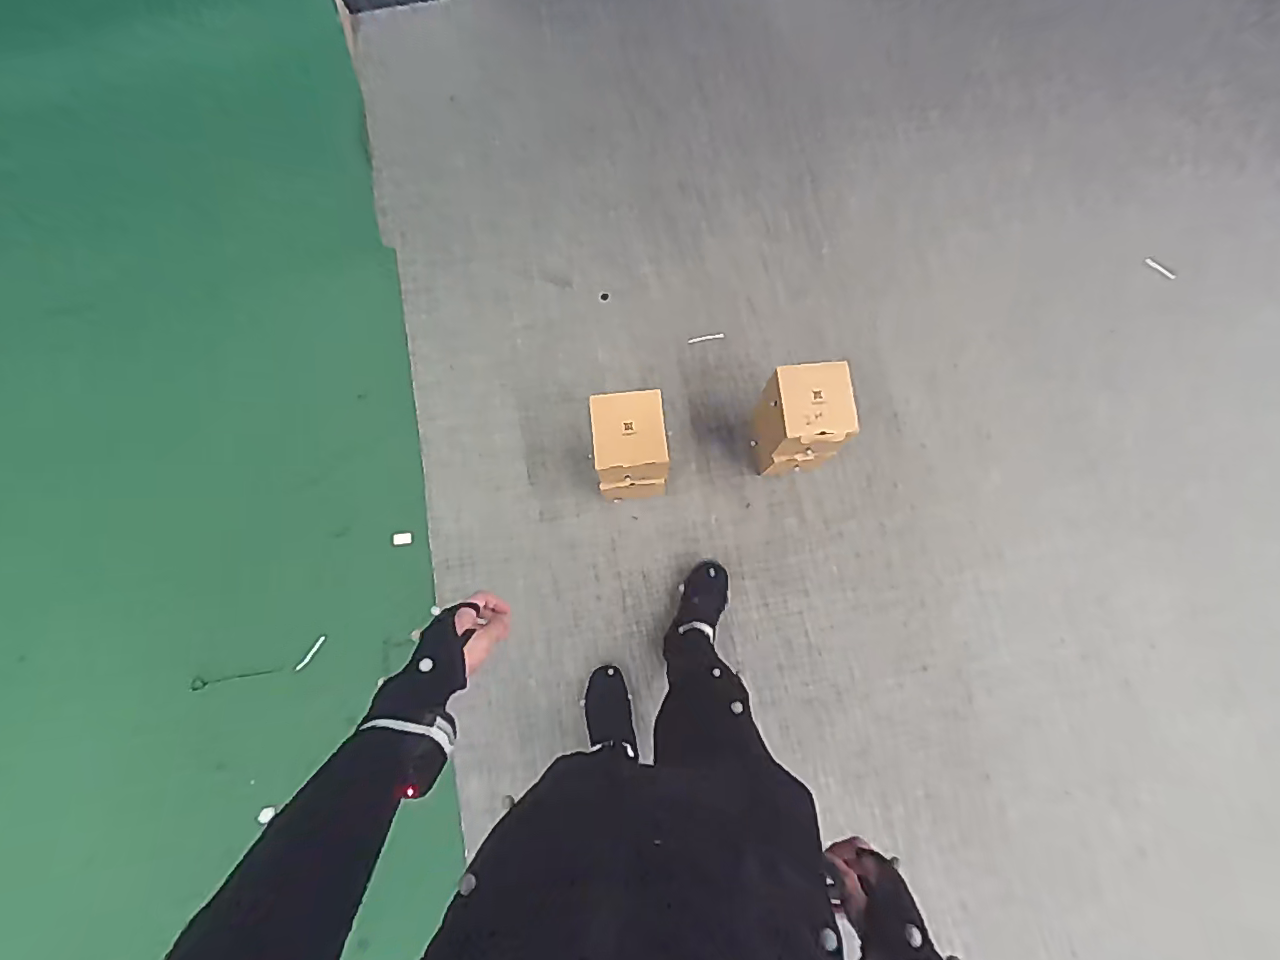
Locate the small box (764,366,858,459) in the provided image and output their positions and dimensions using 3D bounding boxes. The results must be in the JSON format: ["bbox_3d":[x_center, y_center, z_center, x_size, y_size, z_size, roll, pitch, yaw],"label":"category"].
[{"bbox_3d":[0.404,-0.158,1.307,0.168,0.176,0.179,-4,78,0],"label":"small box"}]

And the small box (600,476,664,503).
[{"bbox_3d":[-0.025,-0.037,1.468,0.168,0.176,0.179,-6,77,-2],"label":"small box"}]

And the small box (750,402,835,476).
[{"bbox_3d":[0.406,-0.114,1.466,0.168,0.176,0.179,-8,79,-2],"label":"small box"}]

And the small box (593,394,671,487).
[{"bbox_3d":[-0.022,-0.090,1.296,0.168,0.176,0.179,-6,78,-2],"label":"small box"}]
